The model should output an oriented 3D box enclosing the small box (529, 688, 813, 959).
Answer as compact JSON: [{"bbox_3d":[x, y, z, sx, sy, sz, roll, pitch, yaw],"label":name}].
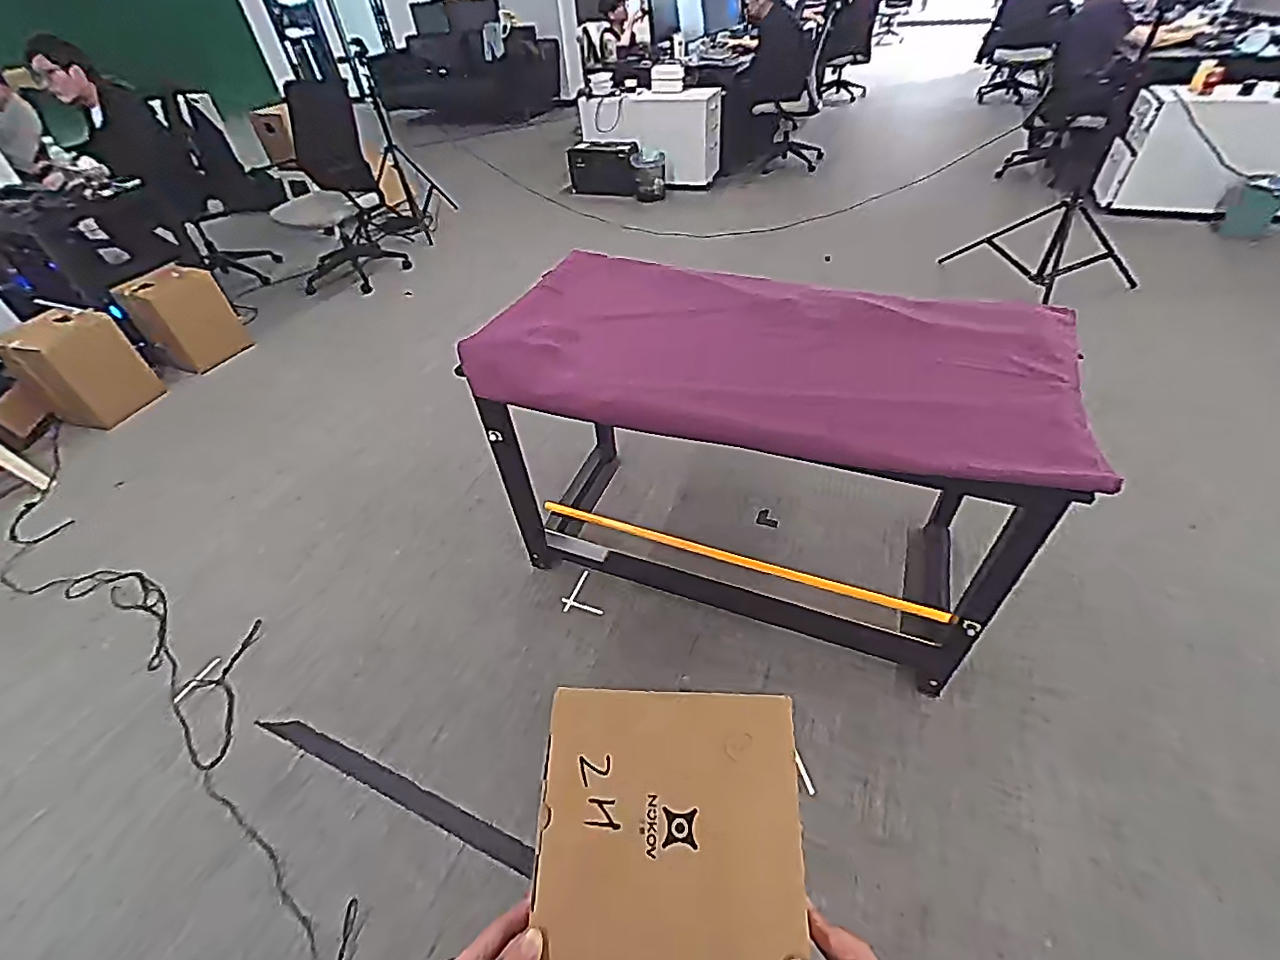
[{"bbox_3d":[0.028,0.264,0.432,0.179,0.176,0.168,0,63,7],"label":"small box"}]
